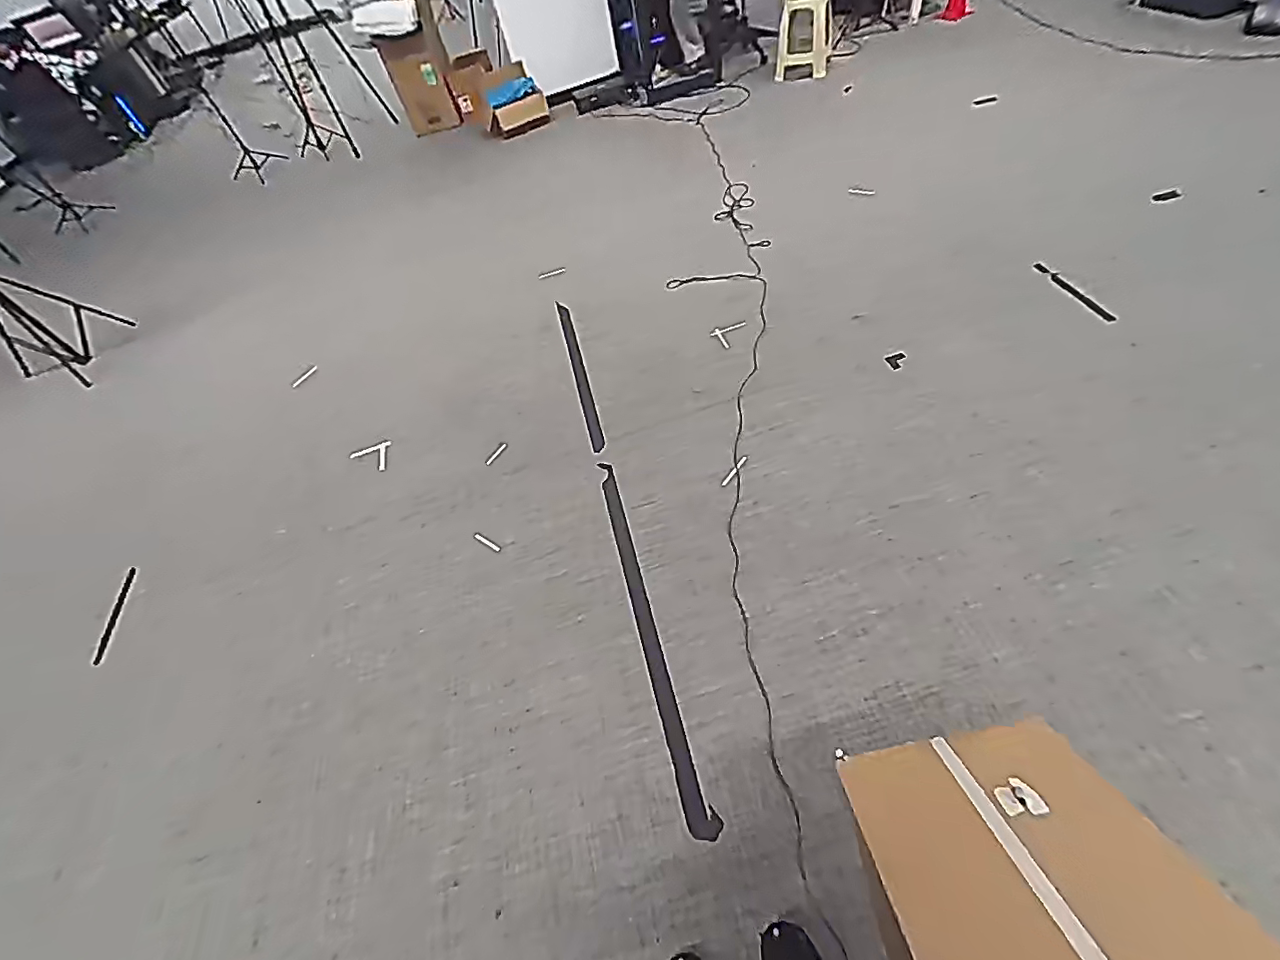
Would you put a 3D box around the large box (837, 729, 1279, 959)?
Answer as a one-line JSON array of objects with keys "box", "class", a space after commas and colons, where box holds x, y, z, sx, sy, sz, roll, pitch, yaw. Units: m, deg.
[{"box": [0.485, 0.593, 0.664, 0.320, 0.320, 0.408, -14, 9, 6], "class": "large box"}]
